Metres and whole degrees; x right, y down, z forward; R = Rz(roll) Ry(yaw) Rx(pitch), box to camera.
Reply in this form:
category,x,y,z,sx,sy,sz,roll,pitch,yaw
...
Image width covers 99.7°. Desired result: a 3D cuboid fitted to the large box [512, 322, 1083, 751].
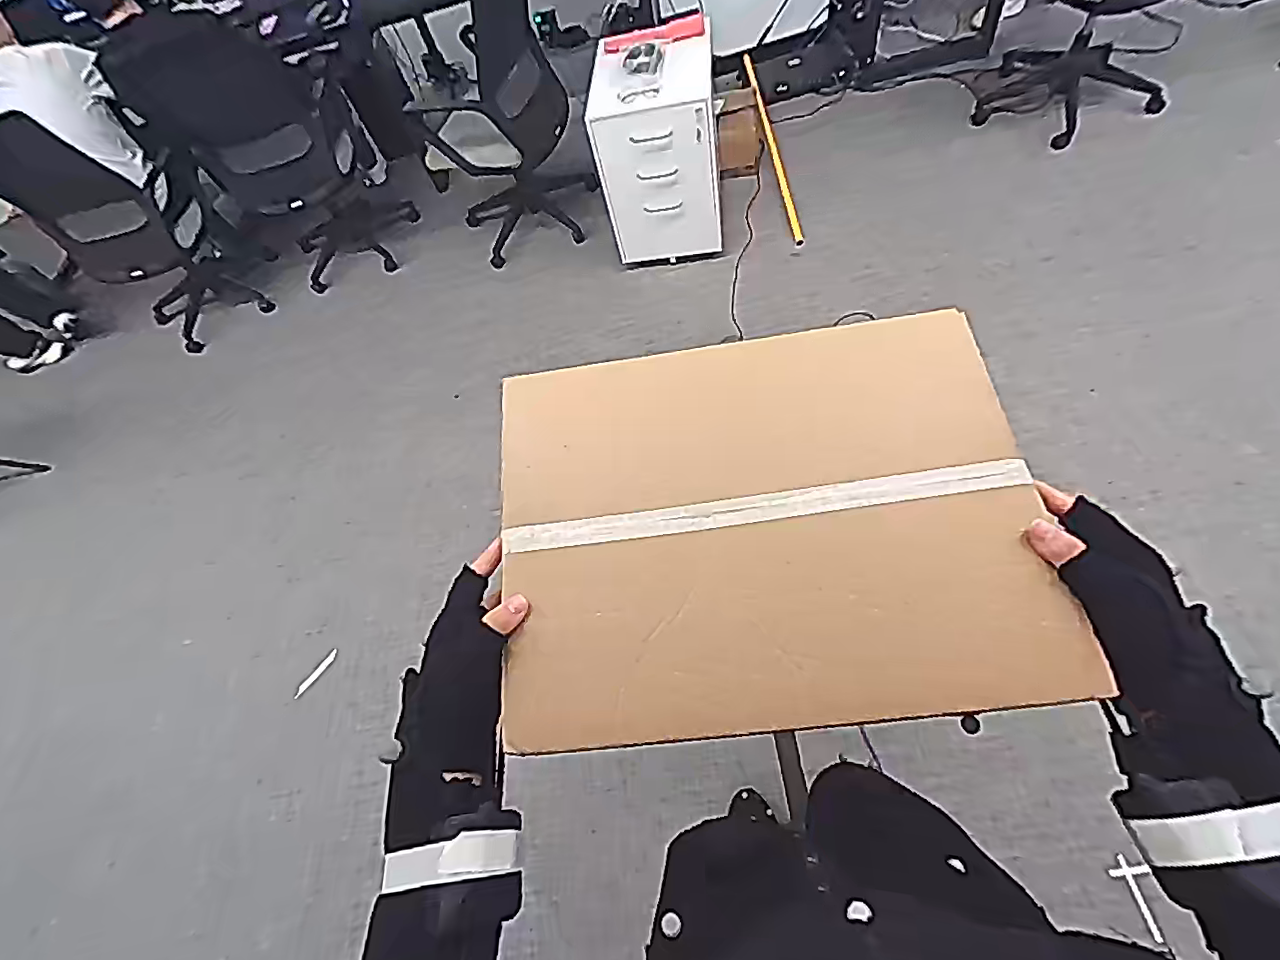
category,x,y,z,sx,sy,sz,roll,pitch,yaw
large box,0.111,0.082,0.572,0.408,0.320,0.320,-8,66,5

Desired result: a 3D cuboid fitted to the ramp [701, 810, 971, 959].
category,x,y,z,sx,sy,sz,roll,pitch,yaw
ramp,0.411,1.148,0.891,0.509,0.206,0.991,-14,58,6
